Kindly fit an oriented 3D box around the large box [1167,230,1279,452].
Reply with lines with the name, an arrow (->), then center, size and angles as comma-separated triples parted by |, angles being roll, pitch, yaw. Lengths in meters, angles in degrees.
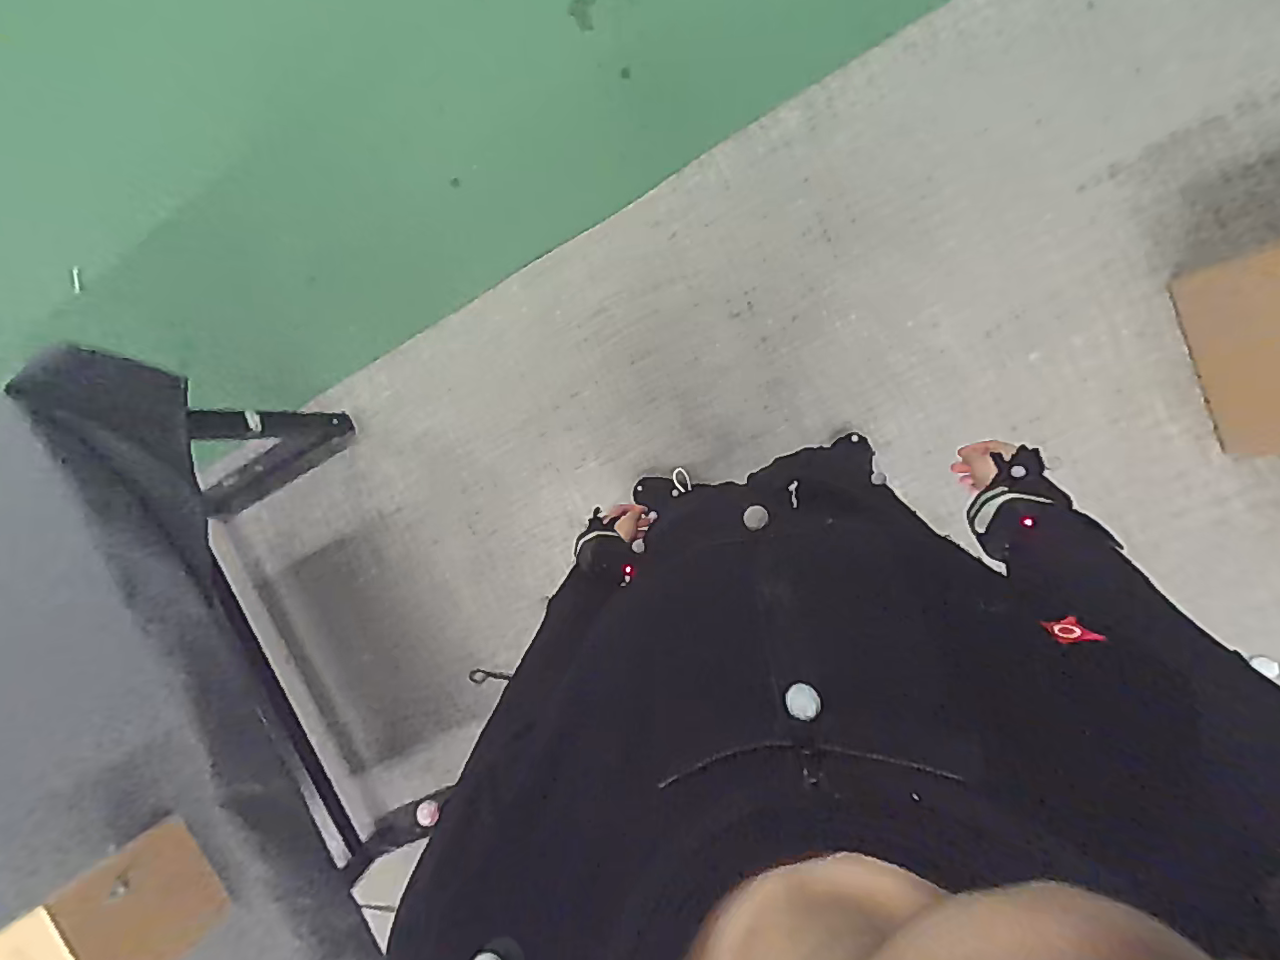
large box -> 1.306, -0.288, 0.986 | 0.320, 0.320, 0.408 | -22, 93, 12
